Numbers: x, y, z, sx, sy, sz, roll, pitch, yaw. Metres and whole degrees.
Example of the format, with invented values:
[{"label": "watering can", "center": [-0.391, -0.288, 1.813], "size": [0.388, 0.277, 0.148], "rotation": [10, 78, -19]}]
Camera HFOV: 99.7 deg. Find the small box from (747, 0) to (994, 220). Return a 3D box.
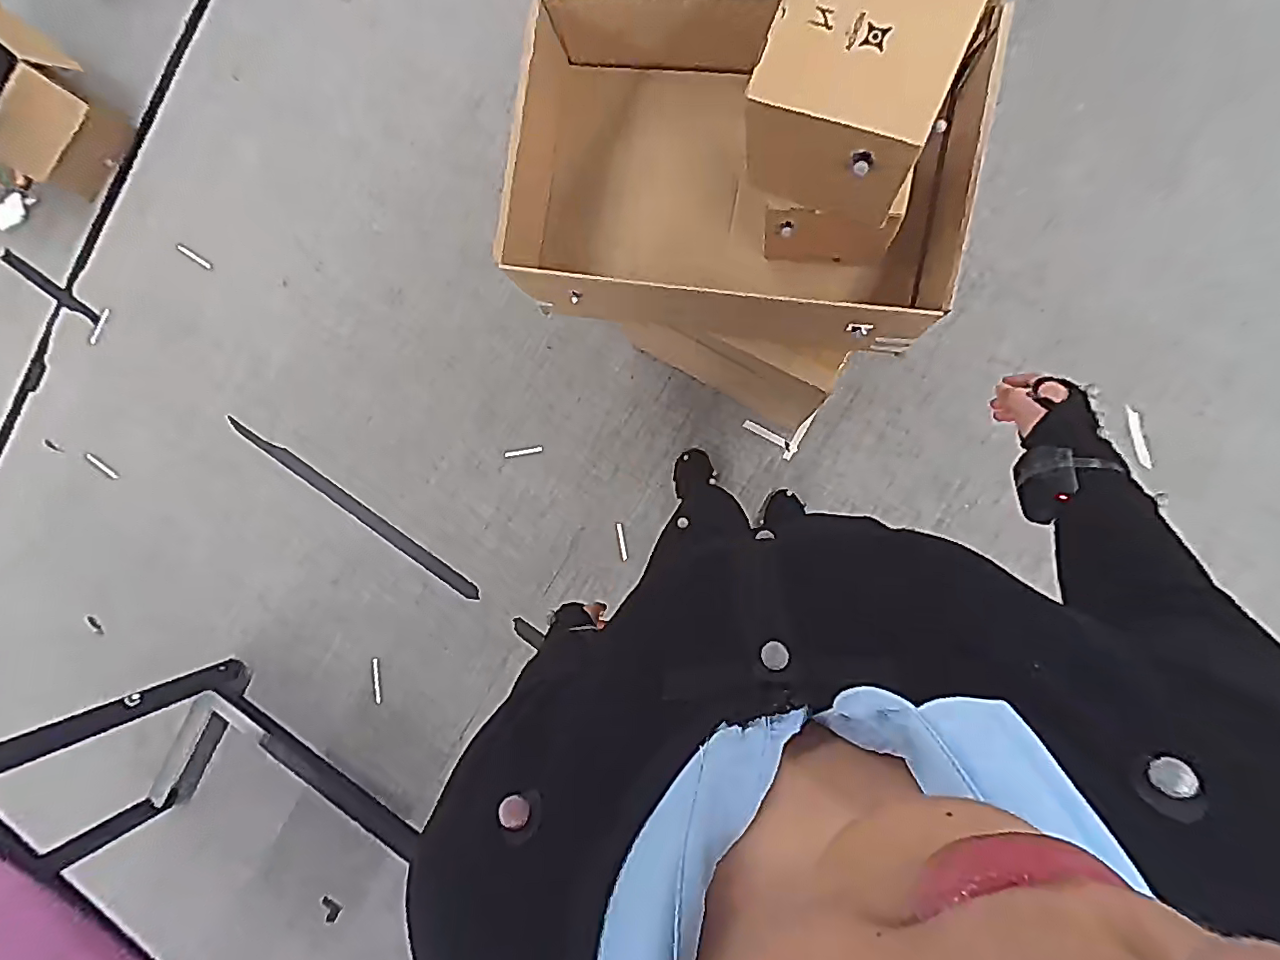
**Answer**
[{"label": "small box", "center": [0.228, -0.406, 0.573], "size": [0.179, 0.176, 0.168], "rotation": [24, 95, 12]}]
